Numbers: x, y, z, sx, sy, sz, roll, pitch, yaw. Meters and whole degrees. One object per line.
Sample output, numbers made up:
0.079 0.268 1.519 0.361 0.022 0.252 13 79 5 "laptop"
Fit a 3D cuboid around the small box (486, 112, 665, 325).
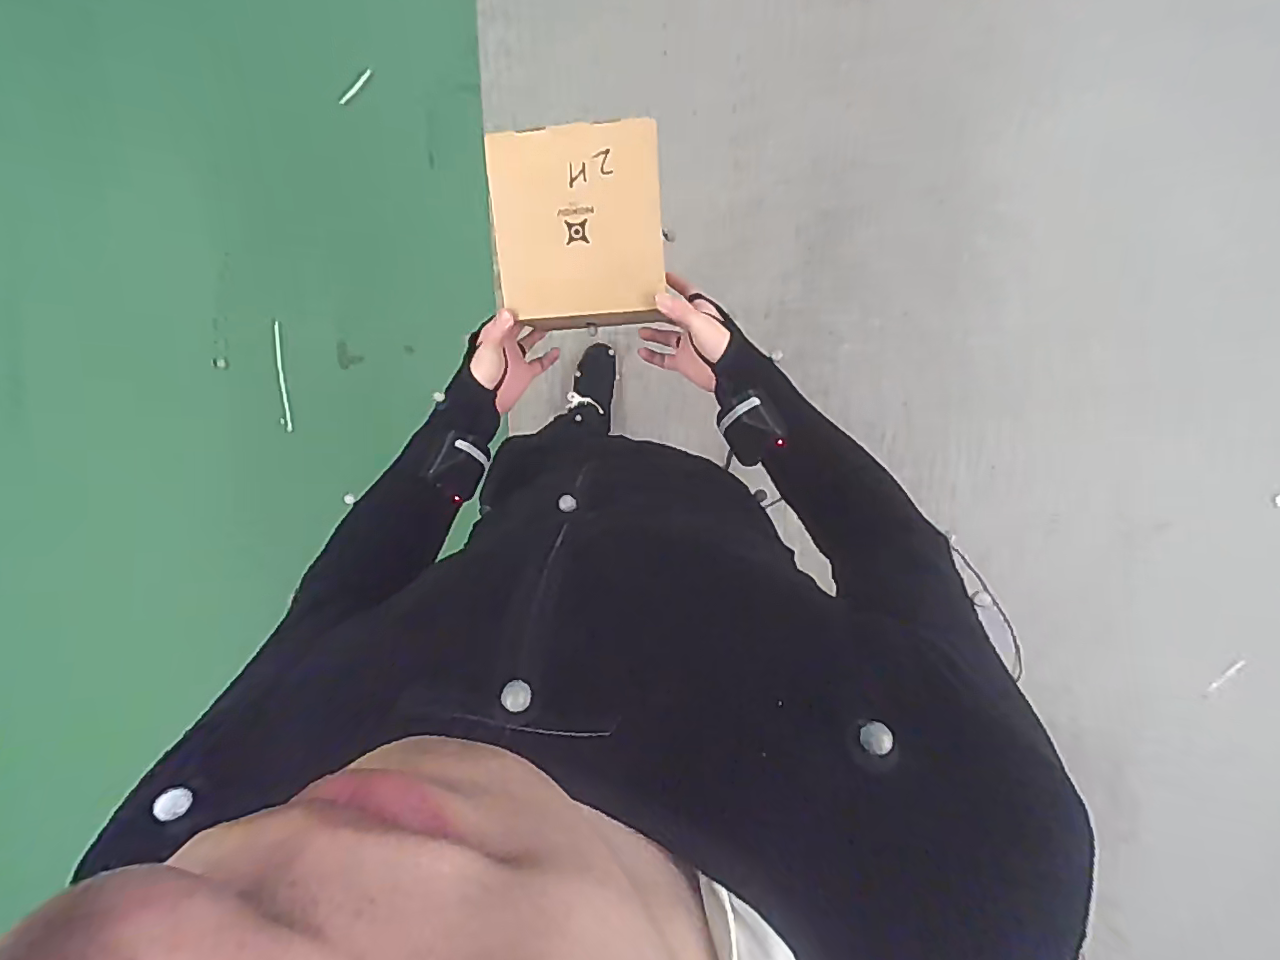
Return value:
-0.056 -0.265 0.591 0.168 0.176 0.179 -2 101 2 "small box"
